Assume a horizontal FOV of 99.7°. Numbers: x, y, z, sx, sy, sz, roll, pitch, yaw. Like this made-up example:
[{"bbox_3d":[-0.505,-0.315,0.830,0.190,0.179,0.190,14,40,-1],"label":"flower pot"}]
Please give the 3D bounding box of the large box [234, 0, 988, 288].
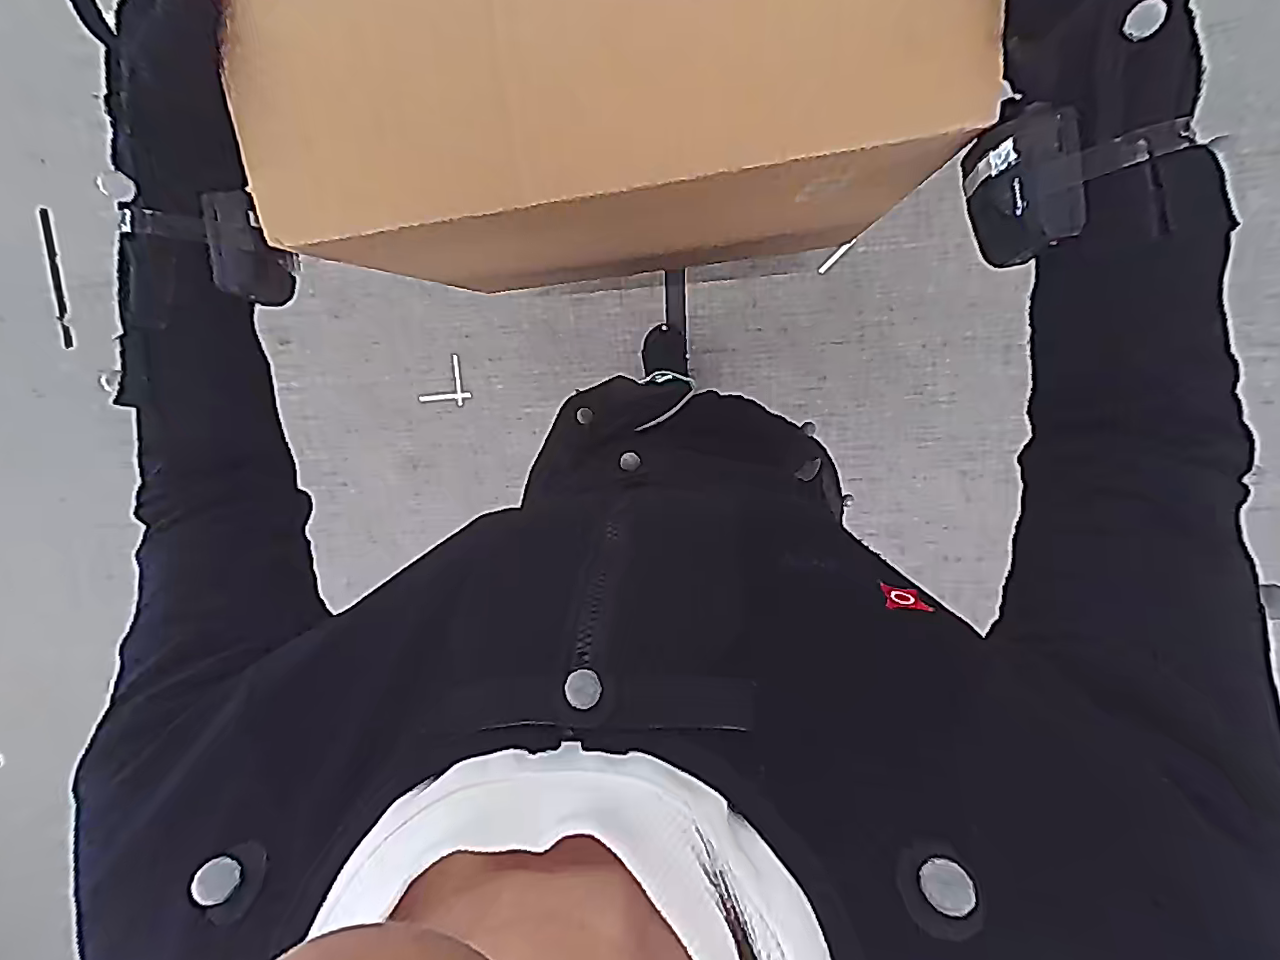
[{"bbox_3d":[-0.020,-0.352,0.416,0.408,0.320,0.320,-5,104,9],"label":"large box"}]
